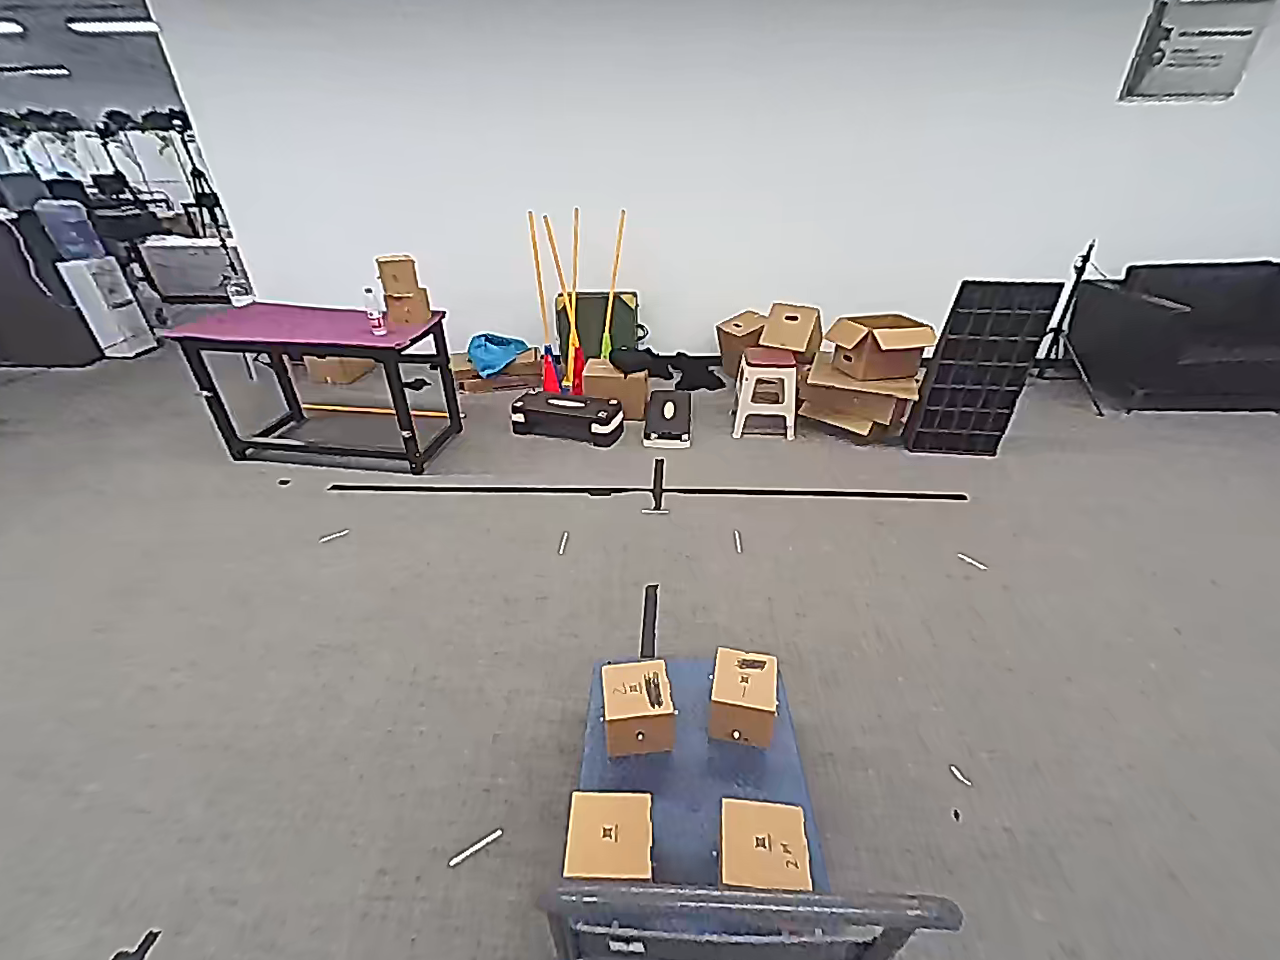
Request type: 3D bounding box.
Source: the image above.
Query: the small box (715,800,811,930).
[{"bbox_3d":[0.251,0.812,1.142,0.179,0.176,0.168,4,33,6],"label":"small box"}]

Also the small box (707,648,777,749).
[{"bbox_3d":[0.279,0.596,1.480,0.168,0.176,0.179,7,34,11],"label":"small box"}]

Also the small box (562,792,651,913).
[{"bbox_3d":[-0.066,0.800,1.161,0.179,0.176,0.168,2,32,0],"label":"small box"}]
